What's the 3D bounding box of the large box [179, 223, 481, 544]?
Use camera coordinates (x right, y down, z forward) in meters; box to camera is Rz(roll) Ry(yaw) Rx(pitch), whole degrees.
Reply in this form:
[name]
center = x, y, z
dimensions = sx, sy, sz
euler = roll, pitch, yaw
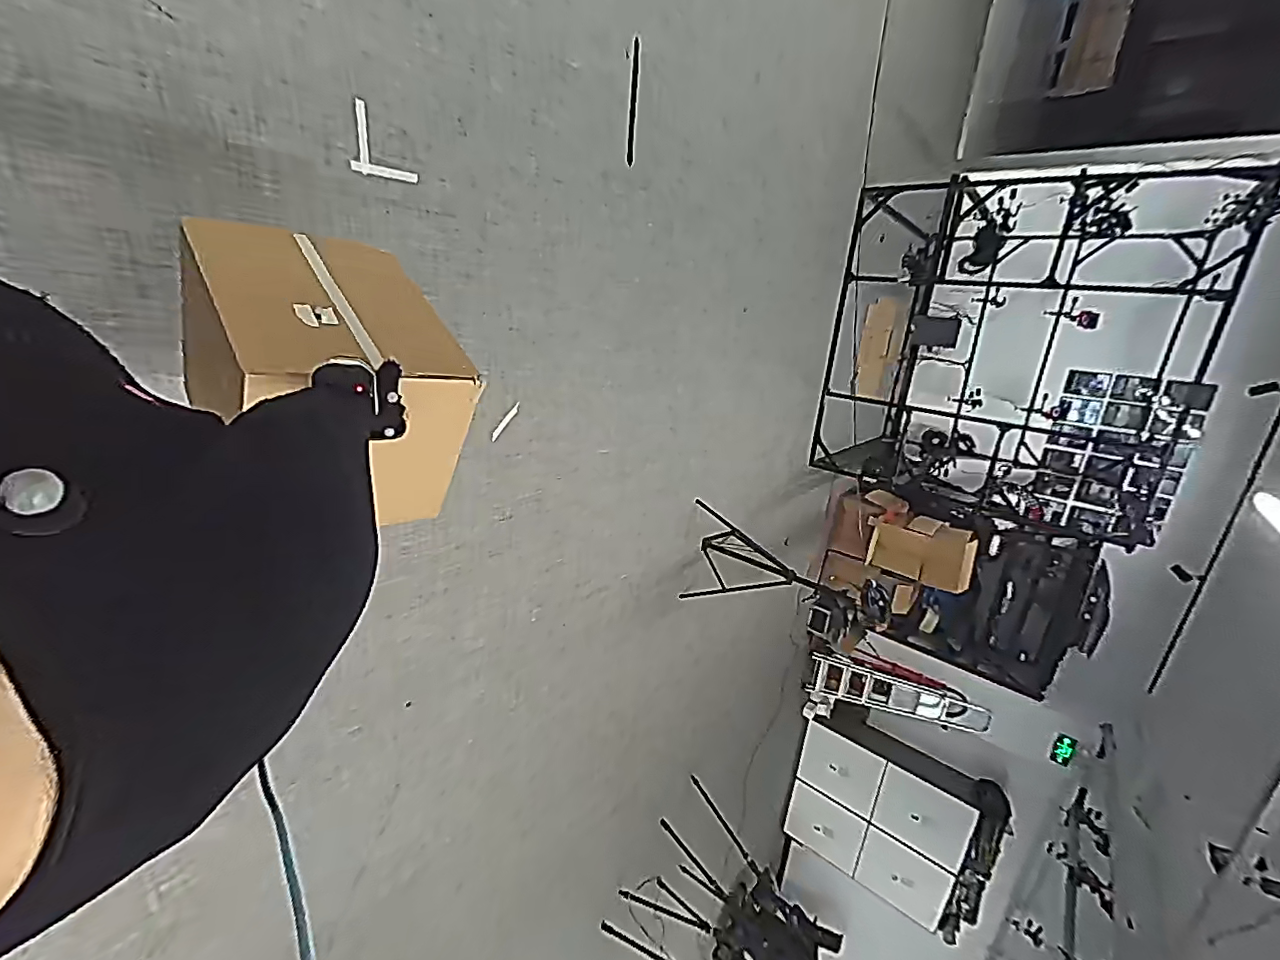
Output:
[large box]
center = -0.539, -0.160, 0.915
dimensions = 0.320, 0.408, 0.320
euler = -10, 142, -46
